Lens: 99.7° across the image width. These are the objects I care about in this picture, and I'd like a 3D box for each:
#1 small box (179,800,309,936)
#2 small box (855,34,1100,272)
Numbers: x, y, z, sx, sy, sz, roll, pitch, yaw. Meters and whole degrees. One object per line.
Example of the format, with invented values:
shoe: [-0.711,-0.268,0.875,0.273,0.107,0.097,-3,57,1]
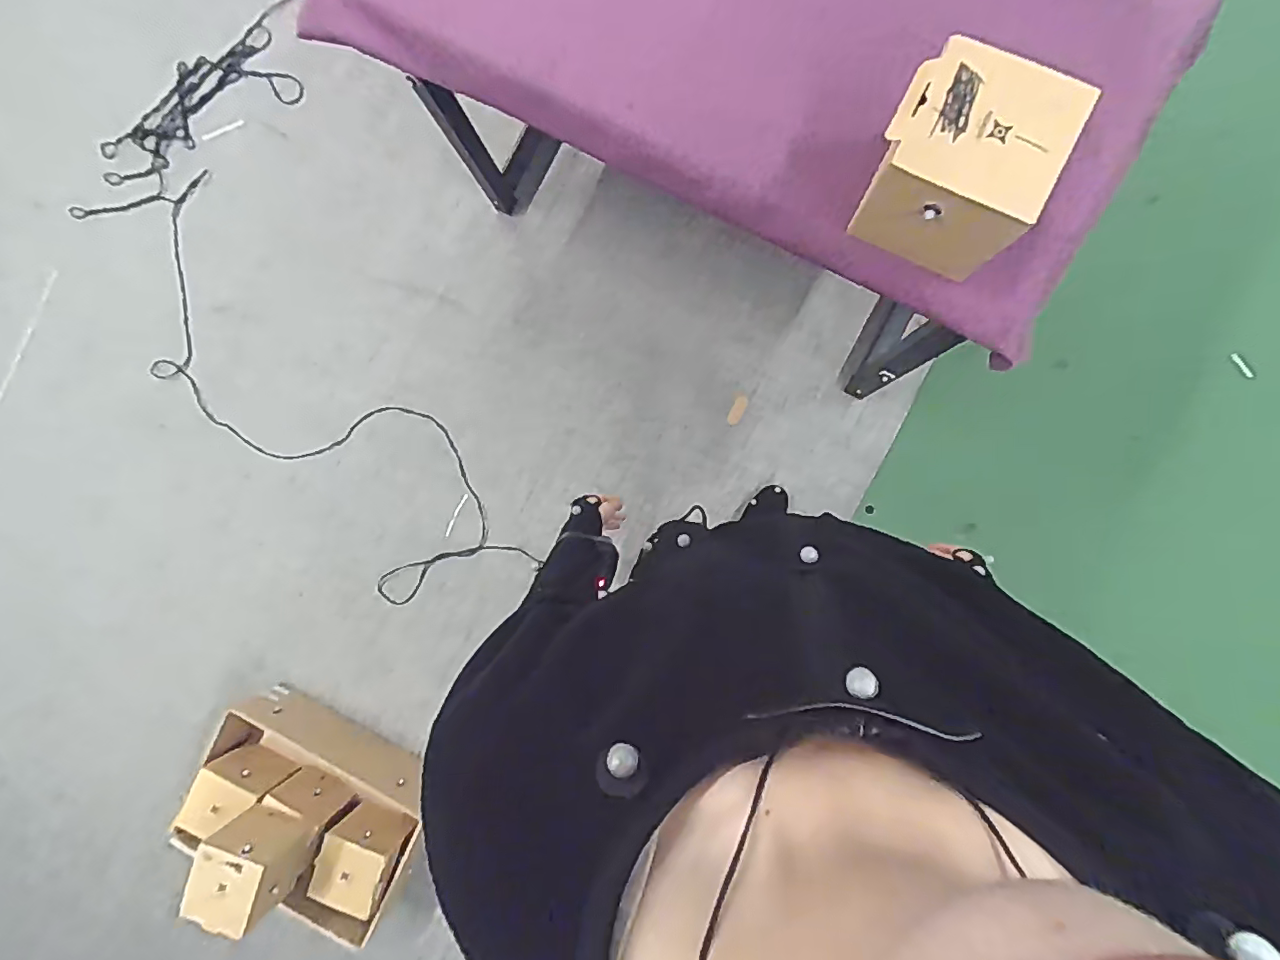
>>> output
small box: [-0.936,0.918,1.295,0.168,0.176,0.179,17,90,5]
small box: [0.402,-0.393,0.683,0.179,0.176,0.168,27,92,5]
